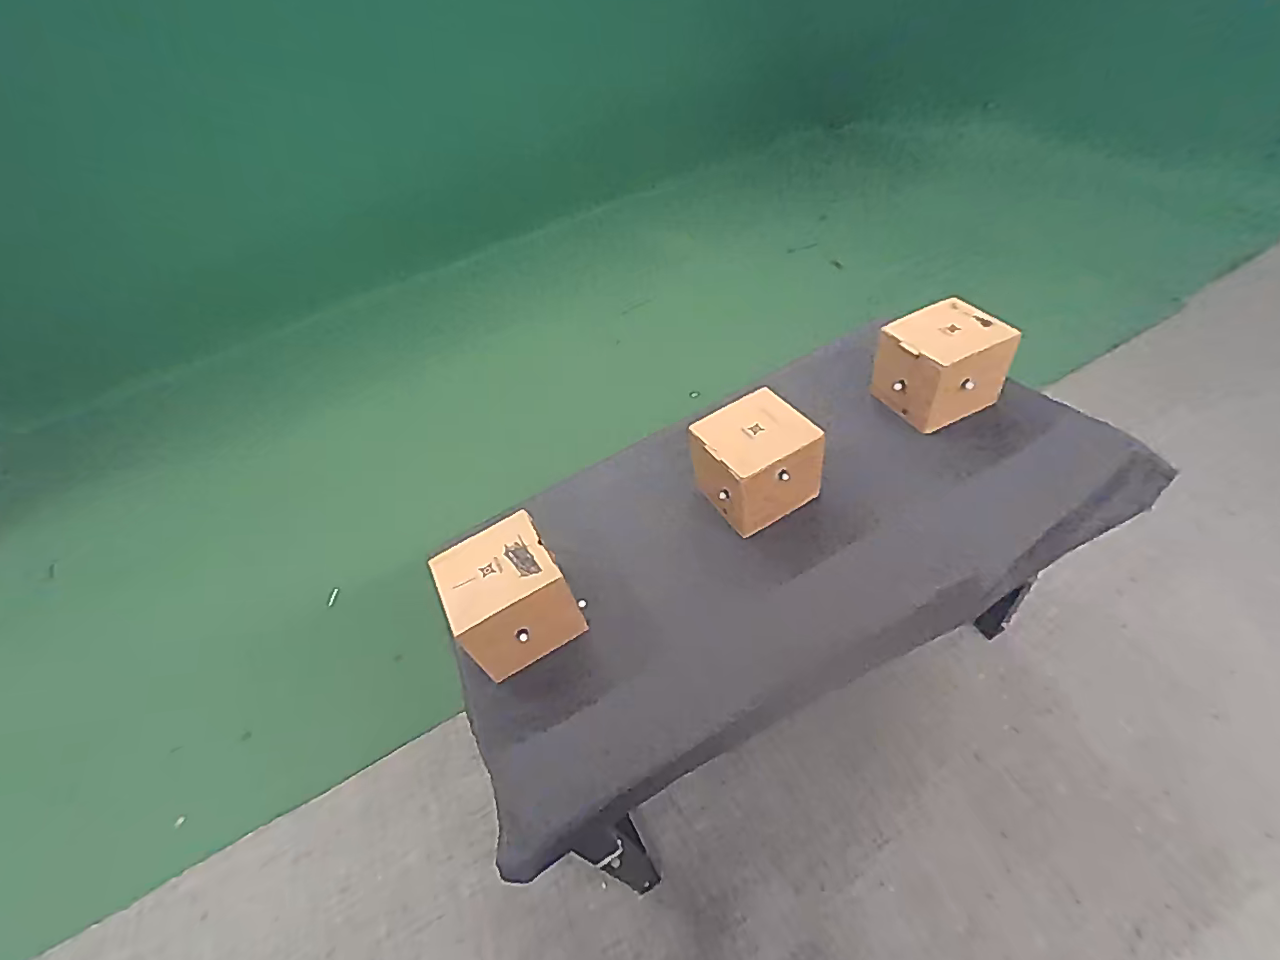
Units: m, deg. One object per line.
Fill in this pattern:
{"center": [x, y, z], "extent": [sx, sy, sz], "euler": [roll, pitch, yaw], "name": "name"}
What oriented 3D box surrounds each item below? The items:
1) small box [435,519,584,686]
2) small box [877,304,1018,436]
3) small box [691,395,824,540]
{"center": [-0.206, 0.204, 0.896], "extent": [0.179, 0.176, 0.168], "euler": [-29, 47, -12], "name": "small box"}
{"center": [0.598, -0.216, 1.082], "extent": [0.179, 0.176, 0.168], "euler": [-24, 47, -7], "name": "small box"}
{"center": [0.216, -0.020, 1.002], "extent": [0.179, 0.176, 0.168], "euler": [-27, 48, -13], "name": "small box"}
